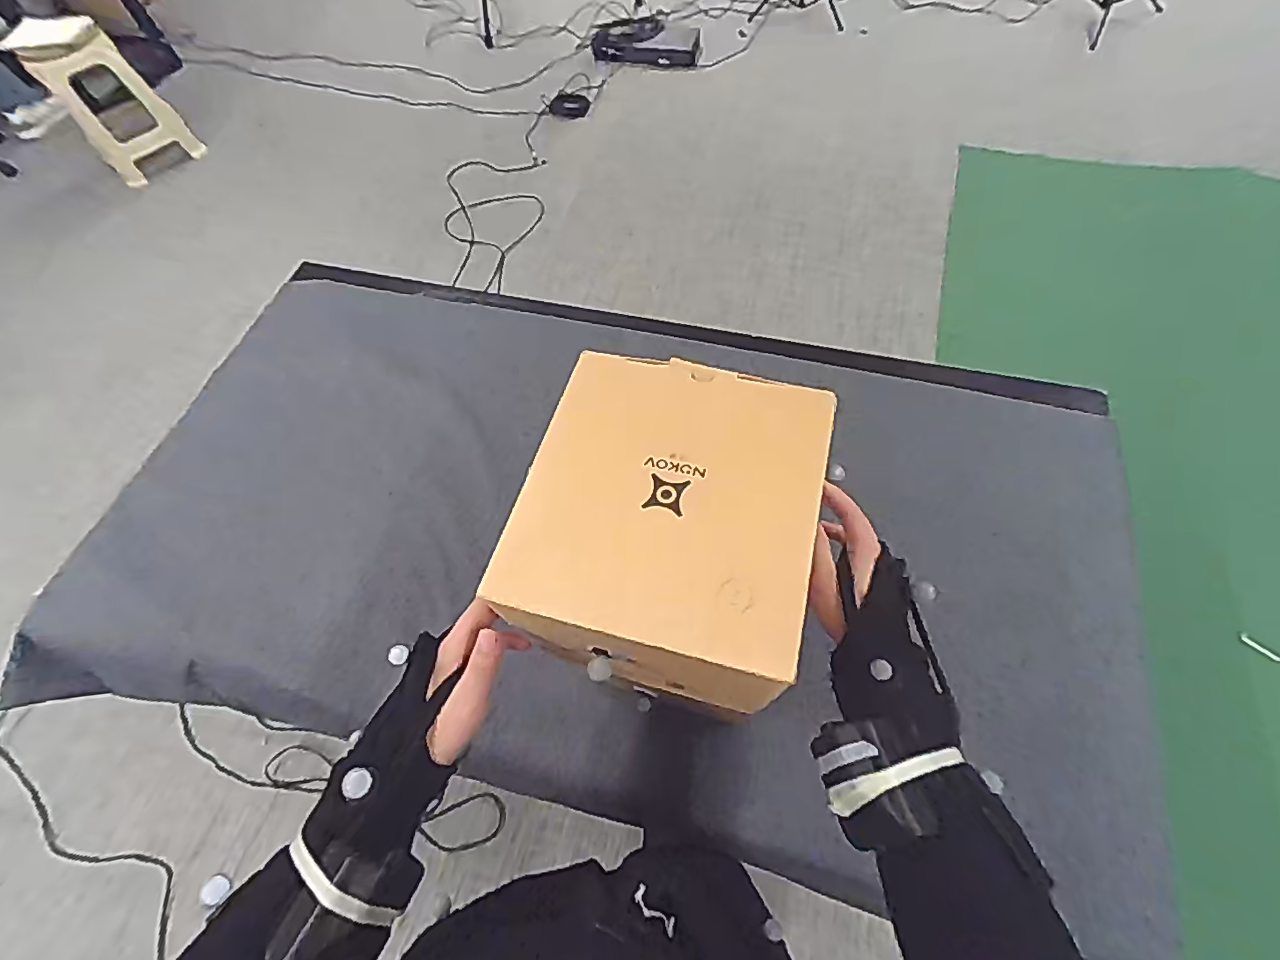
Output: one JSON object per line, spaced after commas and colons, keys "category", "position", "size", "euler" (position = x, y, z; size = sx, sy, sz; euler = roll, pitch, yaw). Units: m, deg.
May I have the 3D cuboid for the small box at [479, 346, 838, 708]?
{"category": "small box", "position": [0.024, 0.040, 0.367], "size": [0.168, 0.176, 0.179], "euler": [12, 62, 12]}

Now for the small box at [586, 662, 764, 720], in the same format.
{"category": "small box", "position": [0.043, 0.111, 0.513], "size": [0.168, 0.176, 0.179], "euler": [13, 65, 12]}
